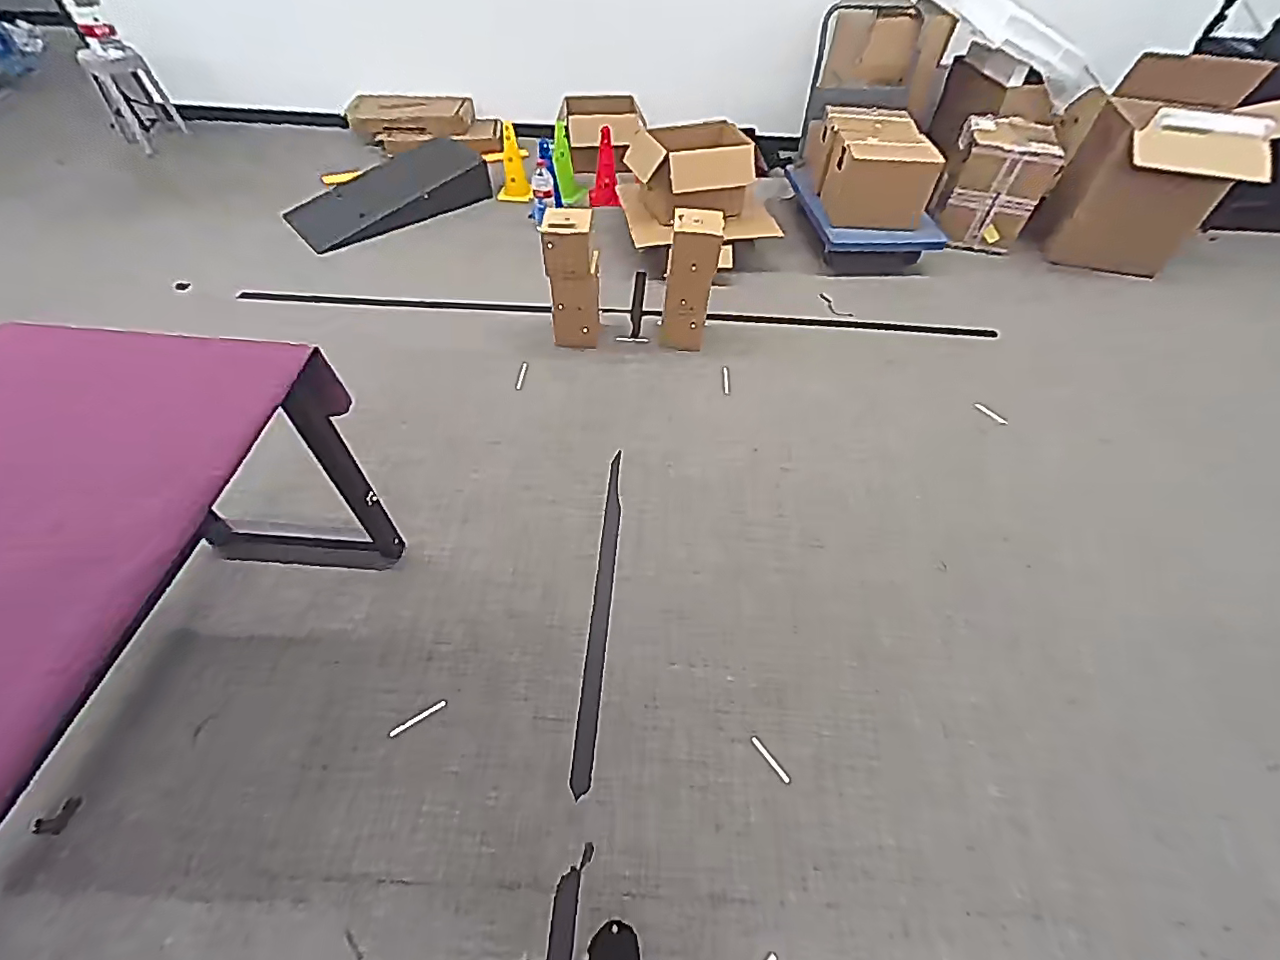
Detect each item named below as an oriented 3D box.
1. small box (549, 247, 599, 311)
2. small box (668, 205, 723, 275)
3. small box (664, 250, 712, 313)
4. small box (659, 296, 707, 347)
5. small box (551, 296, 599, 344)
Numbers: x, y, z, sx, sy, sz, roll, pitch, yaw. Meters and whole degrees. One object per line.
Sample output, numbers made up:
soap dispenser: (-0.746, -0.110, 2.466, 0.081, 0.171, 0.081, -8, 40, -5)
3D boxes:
small box: (-0.249, -0.771, 2.080, 0.168, 0.176, 0.179, 4, 50, 0)
small box: (0.201, -0.870, 1.971, 0.179, 0.176, 0.168, 6, 53, 0)
small box: (0.184, -0.777, 2.105, 0.168, 0.176, 0.179, 4, 53, -1)
small box: (0.177, -0.667, 2.225, 0.179, 0.176, 0.168, 7, 52, 2)
small box: (-0.260, -0.670, 2.209, 0.179, 0.176, 0.168, 1, 51, 0)
